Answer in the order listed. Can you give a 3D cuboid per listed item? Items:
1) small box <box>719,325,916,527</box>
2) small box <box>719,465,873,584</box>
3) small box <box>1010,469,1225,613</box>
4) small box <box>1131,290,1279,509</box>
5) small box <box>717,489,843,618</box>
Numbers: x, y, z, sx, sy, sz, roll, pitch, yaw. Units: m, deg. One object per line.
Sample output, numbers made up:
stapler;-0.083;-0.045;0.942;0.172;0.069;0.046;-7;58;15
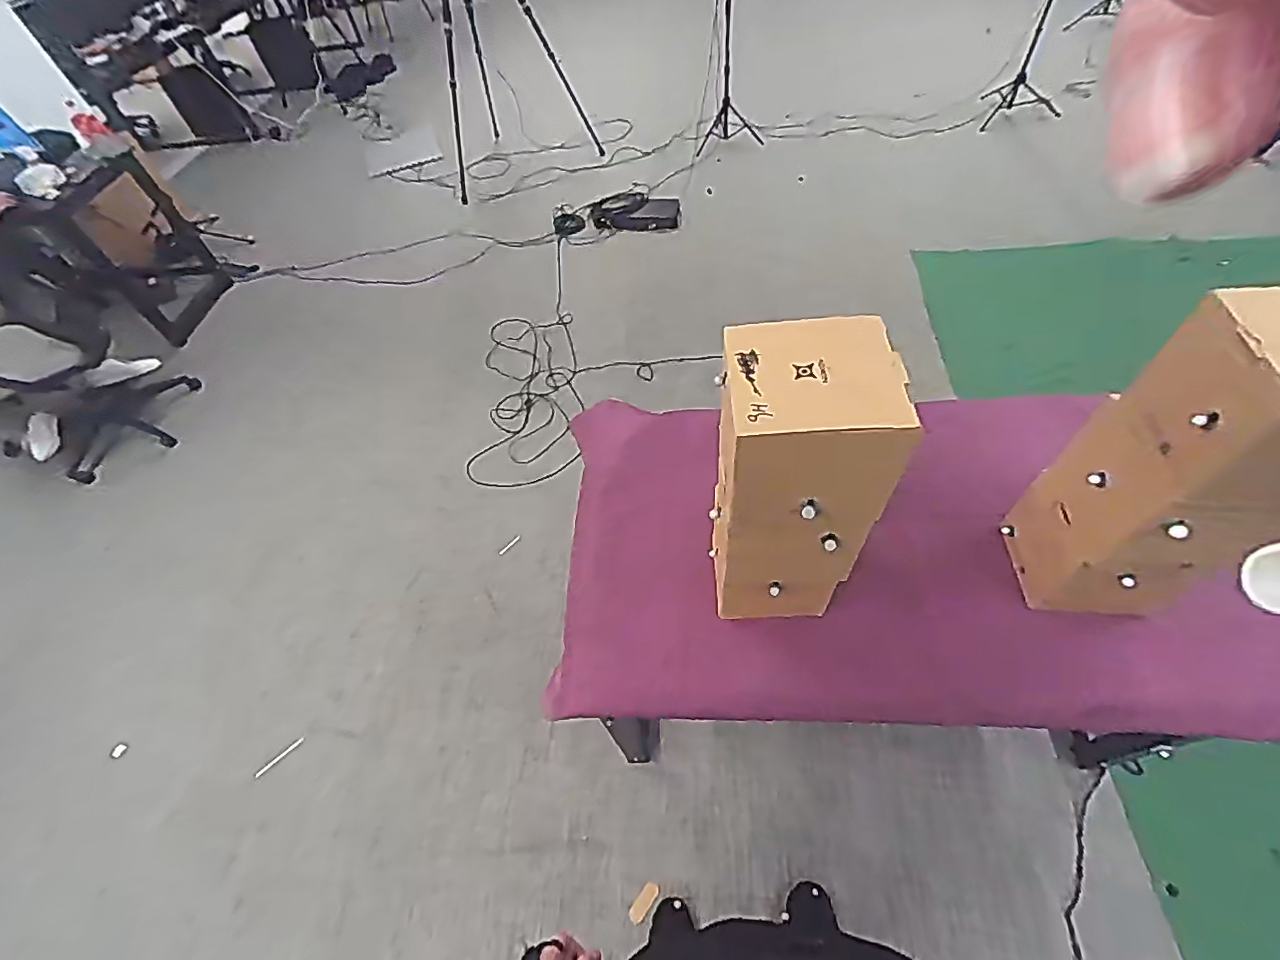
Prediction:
small box;0.185;-0.057;0.626;0.179;0.176;0.168;-2;53;6
small box;0.203;0.037;0.759;0.179;0.176;0.168;-2;53;7
small box;0.714;0.098;0.844;0.179;0.176;0.168;1;54;8
small box;0.677;-0.080;0.571;0.179;0.176;0.168;2;55;10
small box;0.220;0.122;0.901;0.179;0.176;0.168;-4;54;6
